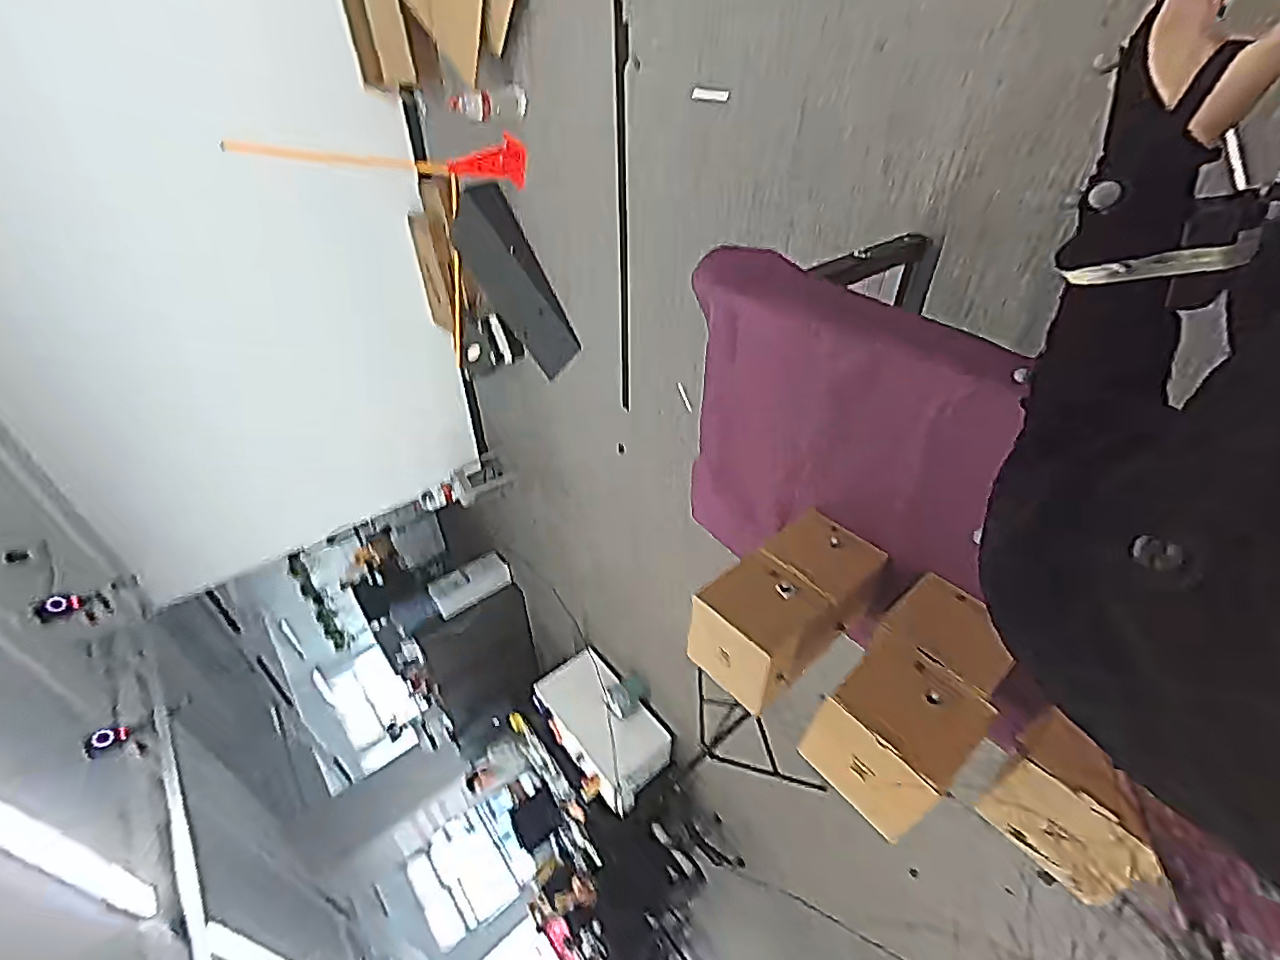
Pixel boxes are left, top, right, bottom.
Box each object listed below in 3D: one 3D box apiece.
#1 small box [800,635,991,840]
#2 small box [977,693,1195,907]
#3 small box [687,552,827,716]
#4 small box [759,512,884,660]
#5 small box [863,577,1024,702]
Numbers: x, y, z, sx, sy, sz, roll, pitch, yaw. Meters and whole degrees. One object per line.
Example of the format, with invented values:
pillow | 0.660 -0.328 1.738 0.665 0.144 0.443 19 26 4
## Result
small box | 0.366 0.366 0.785 0.168 0.176 0.179 38 140 34
small box | 0.631 0.444 0.769 0.168 0.176 0.179 38 139 34
small box | 0.202 0.261 0.943 0.168 0.176 0.179 34 138 37
small box | 0.329 0.194 1.021 0.168 0.176 0.179 36 139 35
small box | 0.480 0.290 0.874 0.168 0.176 0.179 37 141 36
